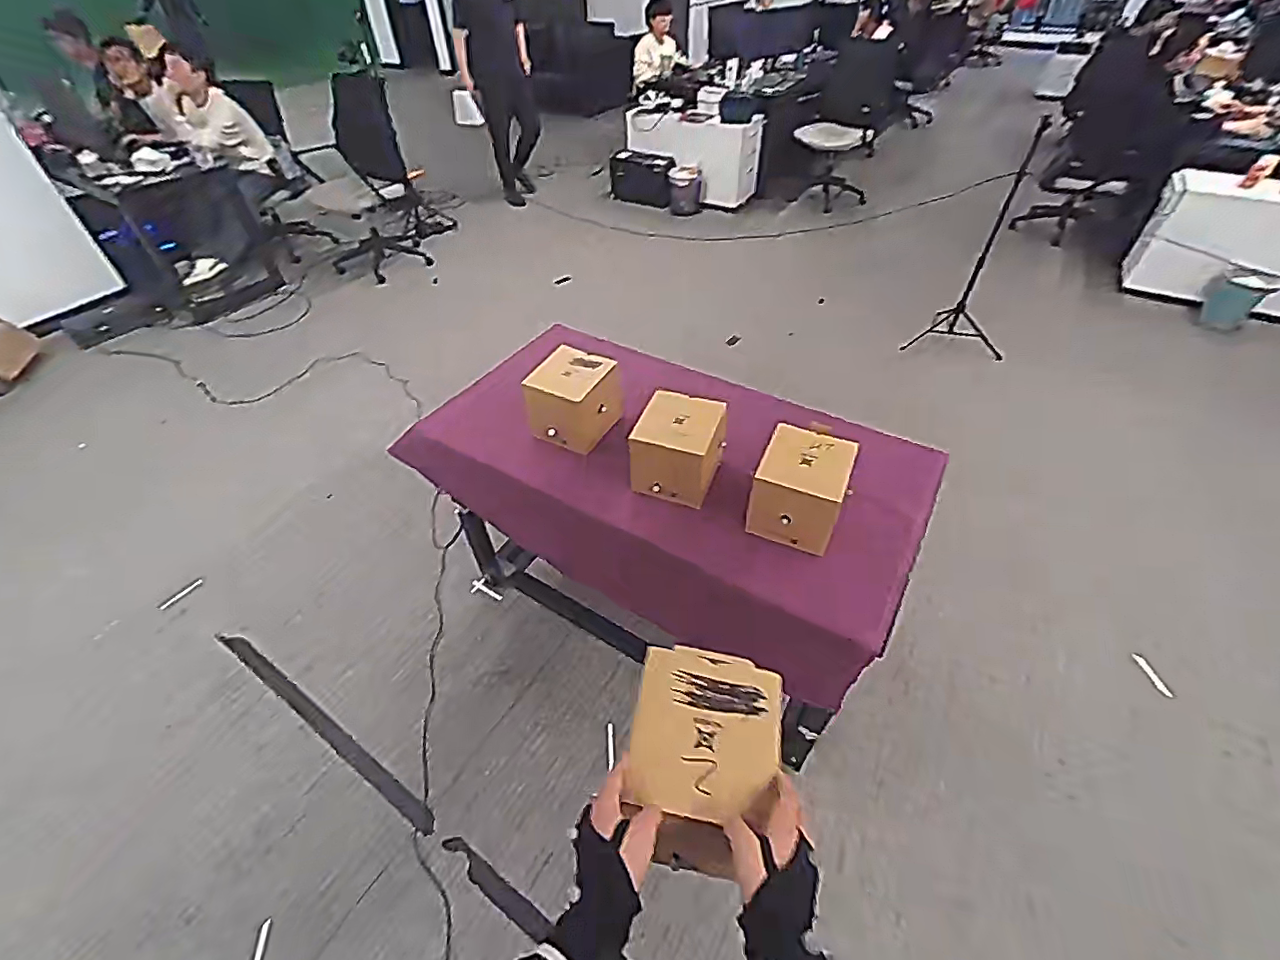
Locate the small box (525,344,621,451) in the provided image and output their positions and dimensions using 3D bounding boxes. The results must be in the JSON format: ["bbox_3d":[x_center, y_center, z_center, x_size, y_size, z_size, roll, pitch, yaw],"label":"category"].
[{"bbox_3d":[-0.157,-0.203,1.330,0.168,0.176,0.179,21,51,20],"label":"small box"}]

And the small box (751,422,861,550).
[{"bbox_3d":[0.334,0.014,1.106,0.168,0.176,0.179,19,49,19],"label":"small box"}]

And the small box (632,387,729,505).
[{"bbox_3d":[0.090,-0.075,1.202,0.168,0.176,0.179,15,48,17],"label":"small box"}]
